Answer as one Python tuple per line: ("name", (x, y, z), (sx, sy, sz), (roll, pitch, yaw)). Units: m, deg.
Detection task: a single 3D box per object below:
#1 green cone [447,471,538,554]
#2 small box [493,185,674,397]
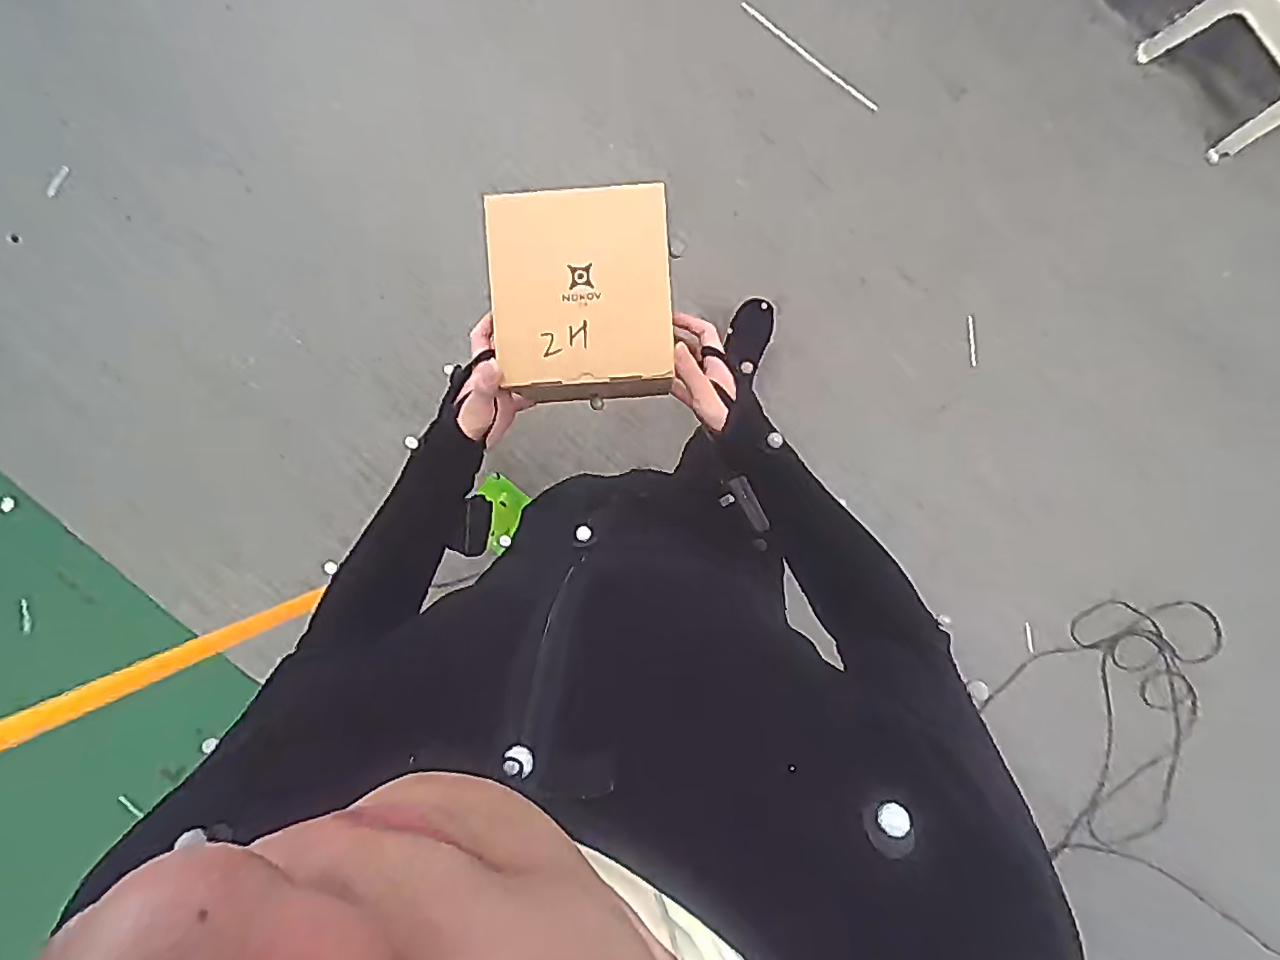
("green cone", (-0.447, 0.119, 1.483), (0.202, 0.368, 0.200), (39, 97, -2))
("small box", (-0.053, -0.188, 0.583), (0.168, 0.176, 0.179), (-3, 94, 1))
